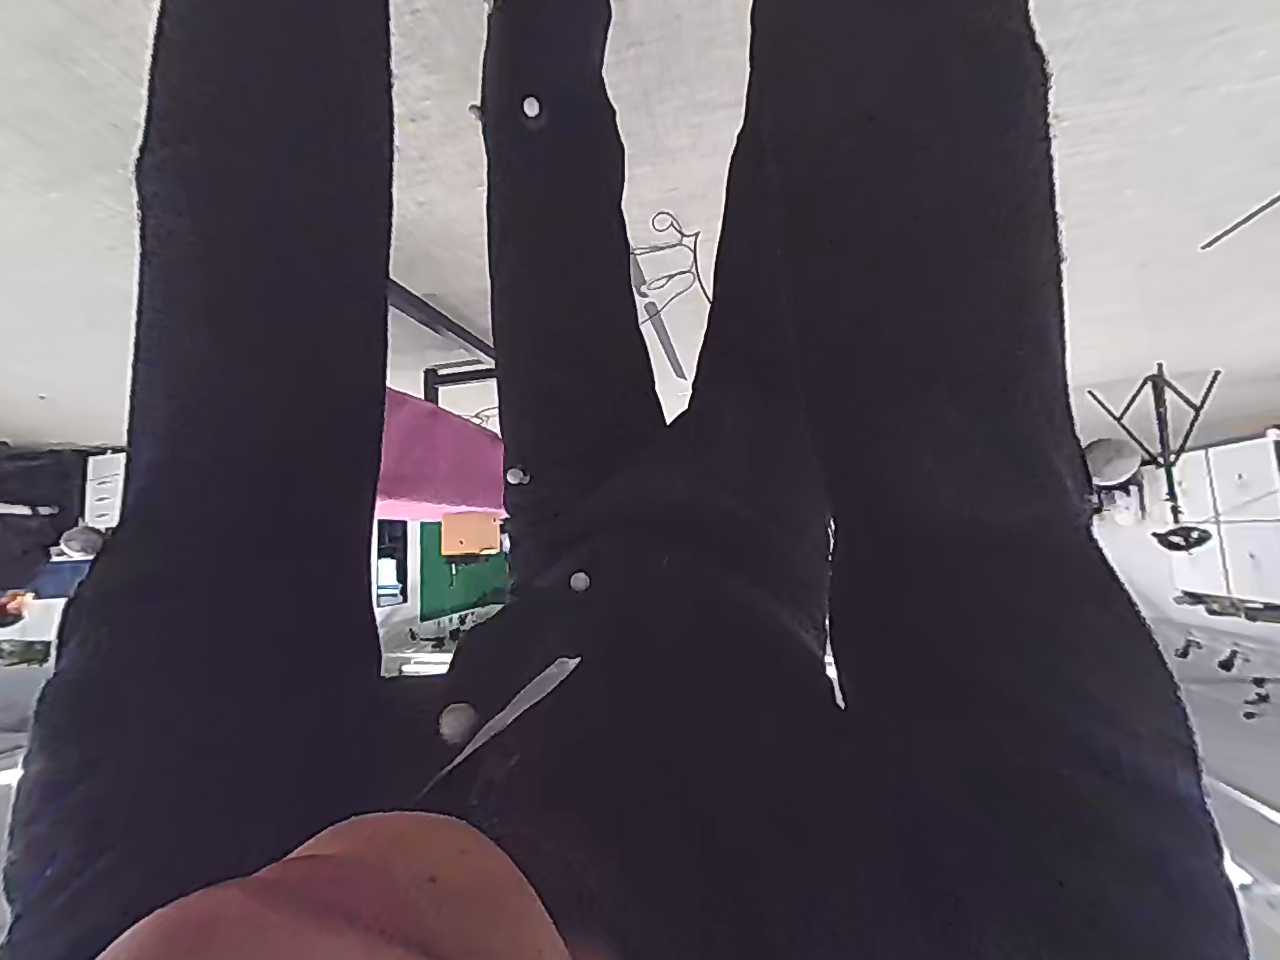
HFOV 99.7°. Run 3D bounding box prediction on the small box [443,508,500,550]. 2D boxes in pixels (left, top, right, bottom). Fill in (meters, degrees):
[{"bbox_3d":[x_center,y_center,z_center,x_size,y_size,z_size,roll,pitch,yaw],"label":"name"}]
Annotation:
[{"bbox_3d":[-0.719,0.205,2.297,0.179,0.176,0.168,-4,174,21],"label":"small box"}]
